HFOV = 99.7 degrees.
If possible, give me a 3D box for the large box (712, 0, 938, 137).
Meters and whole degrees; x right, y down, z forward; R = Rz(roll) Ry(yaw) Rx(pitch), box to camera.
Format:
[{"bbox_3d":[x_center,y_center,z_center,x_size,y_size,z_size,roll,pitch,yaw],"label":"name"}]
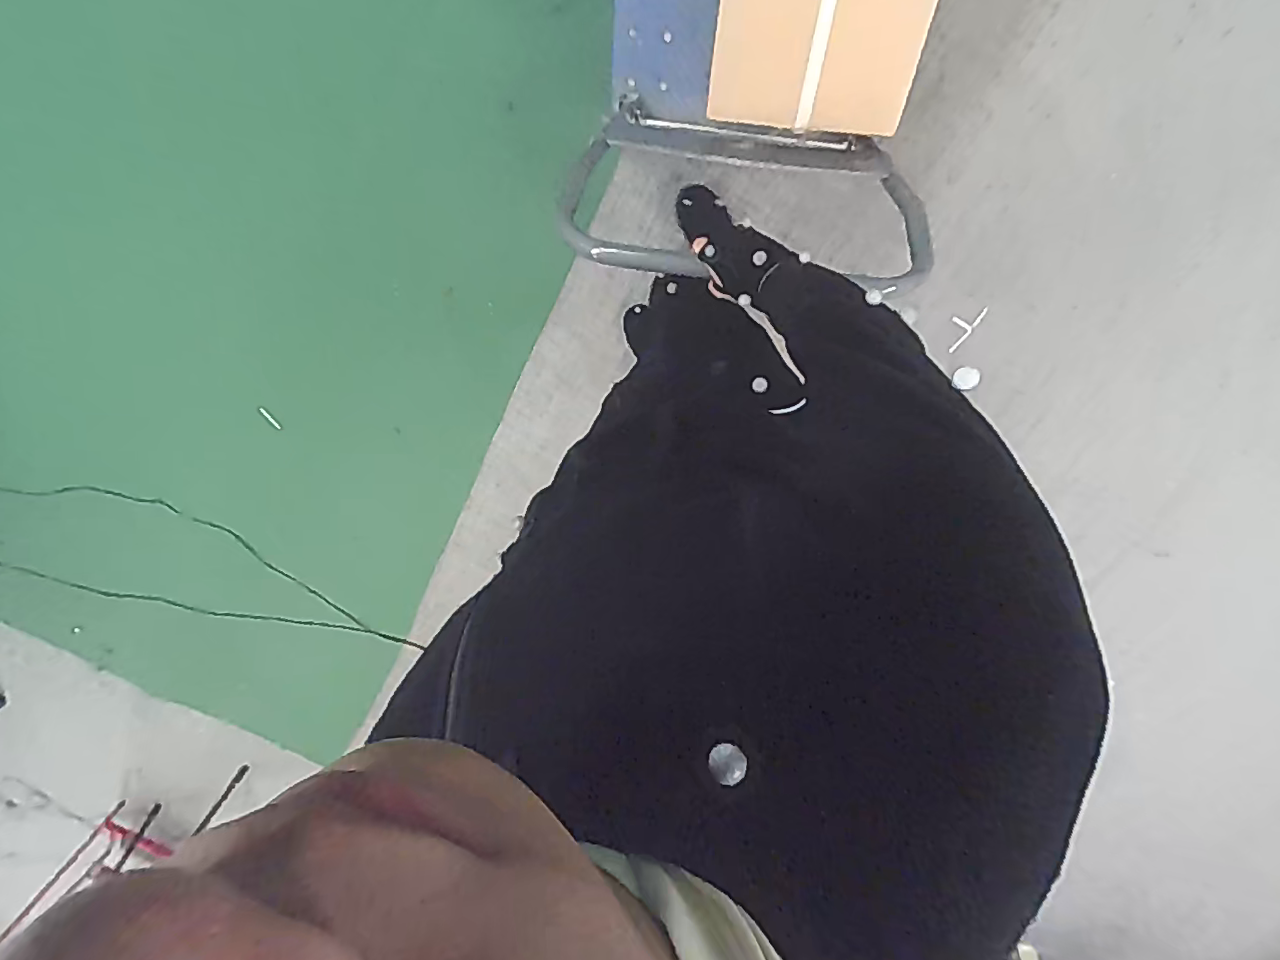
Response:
[{"bbox_3d":[0.303,-0.826,0.891,0.320,0.320,0.408,7,130,3],"label":"large box"}]
